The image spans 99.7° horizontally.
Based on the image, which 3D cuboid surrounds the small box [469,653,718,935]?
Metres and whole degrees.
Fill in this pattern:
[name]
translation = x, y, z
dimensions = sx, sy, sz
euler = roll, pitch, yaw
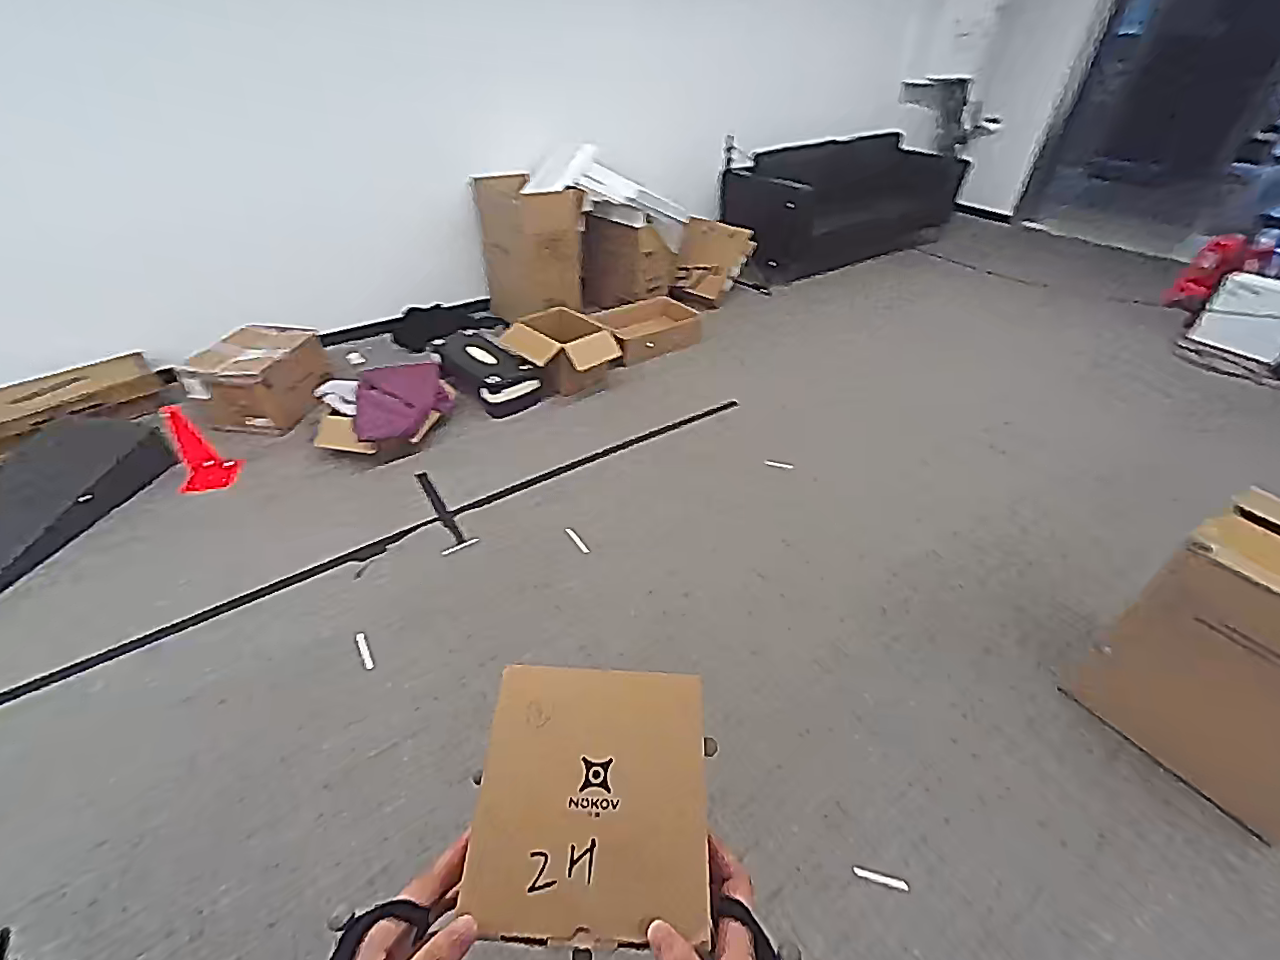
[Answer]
[small box]
translation = -0.031, 0.270, 0.462
dimensions = 0.168, 0.176, 0.179
euler = 4, 50, -1
